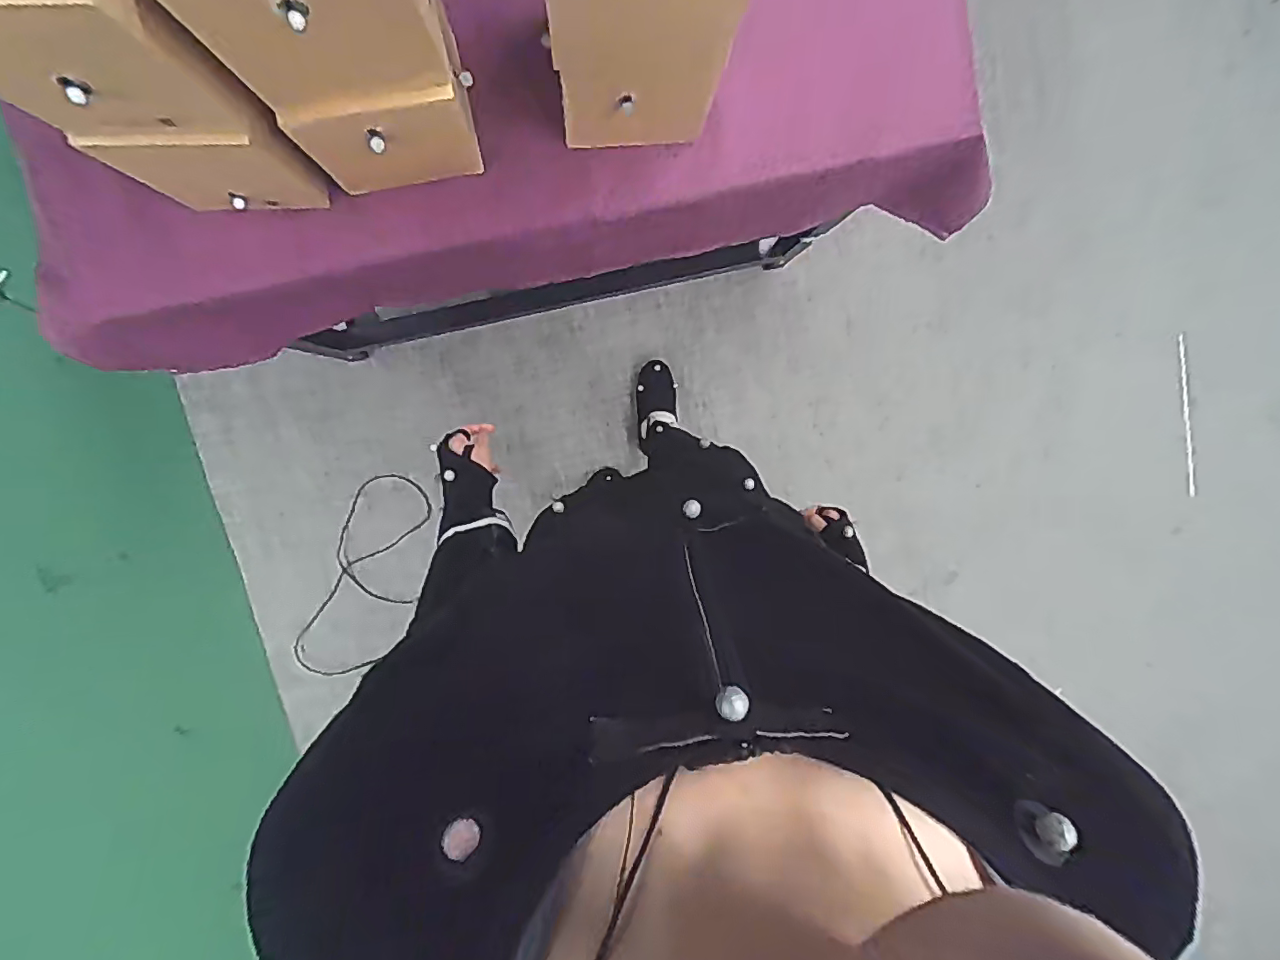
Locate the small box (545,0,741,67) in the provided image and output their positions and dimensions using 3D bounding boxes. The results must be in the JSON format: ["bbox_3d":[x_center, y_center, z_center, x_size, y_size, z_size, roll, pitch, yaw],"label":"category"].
[{"bbox_3d":[0.003,-0.484,0.451,0.179,0.176,0.168,-3,97,-6],"label":"small box"}]

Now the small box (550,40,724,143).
[{"bbox_3d":[-0.012,-0.508,0.613,0.179,0.176,0.168,-5,97,-4],"label":"small box"}]
